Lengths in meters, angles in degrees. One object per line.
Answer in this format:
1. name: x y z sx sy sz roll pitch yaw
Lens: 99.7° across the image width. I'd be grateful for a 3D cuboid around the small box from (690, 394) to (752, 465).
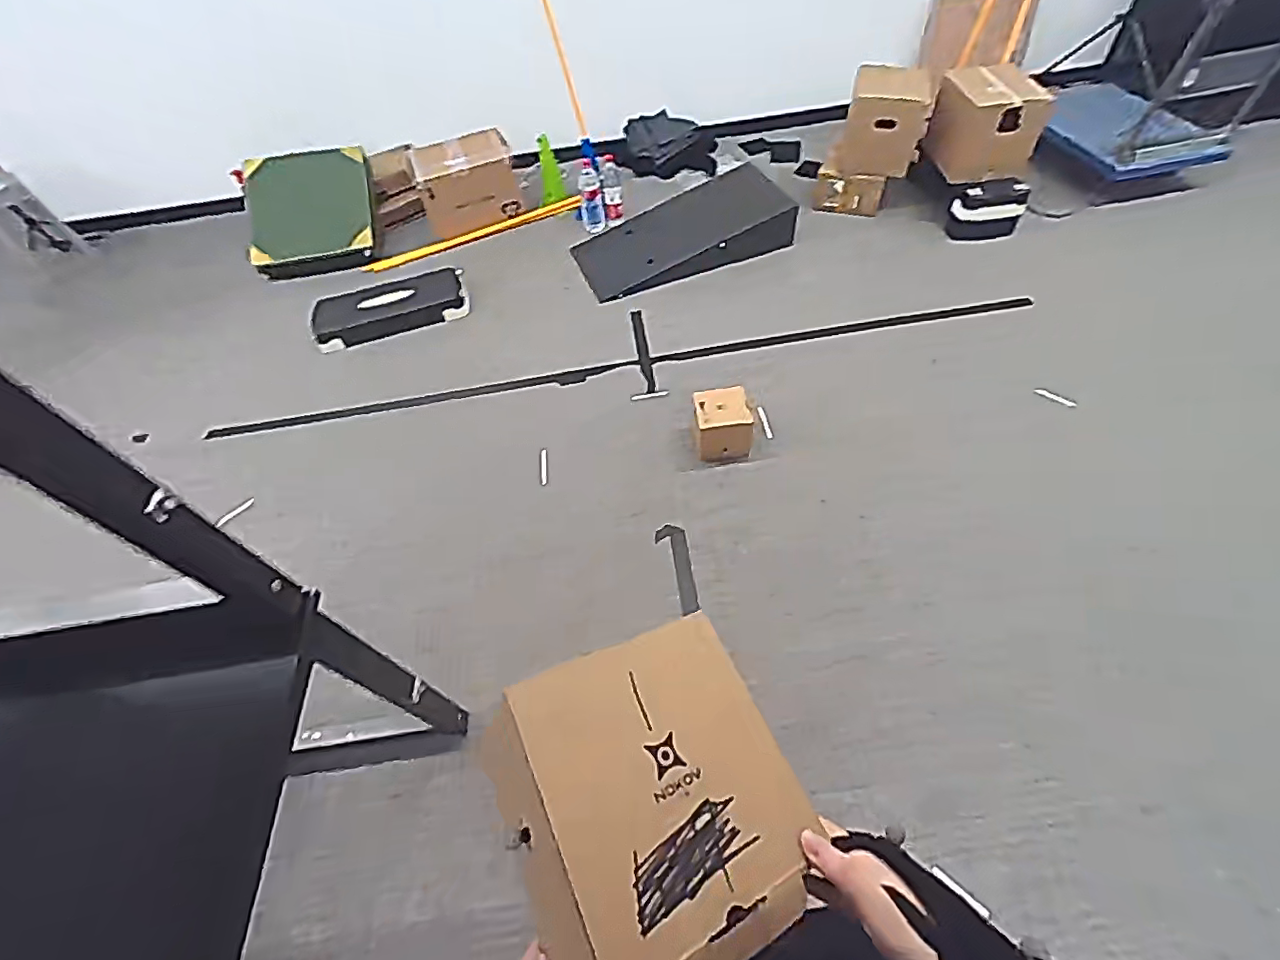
1. small box: 0.268 -0.170 1.830 0.179 0.176 0.168 -6 53 0
